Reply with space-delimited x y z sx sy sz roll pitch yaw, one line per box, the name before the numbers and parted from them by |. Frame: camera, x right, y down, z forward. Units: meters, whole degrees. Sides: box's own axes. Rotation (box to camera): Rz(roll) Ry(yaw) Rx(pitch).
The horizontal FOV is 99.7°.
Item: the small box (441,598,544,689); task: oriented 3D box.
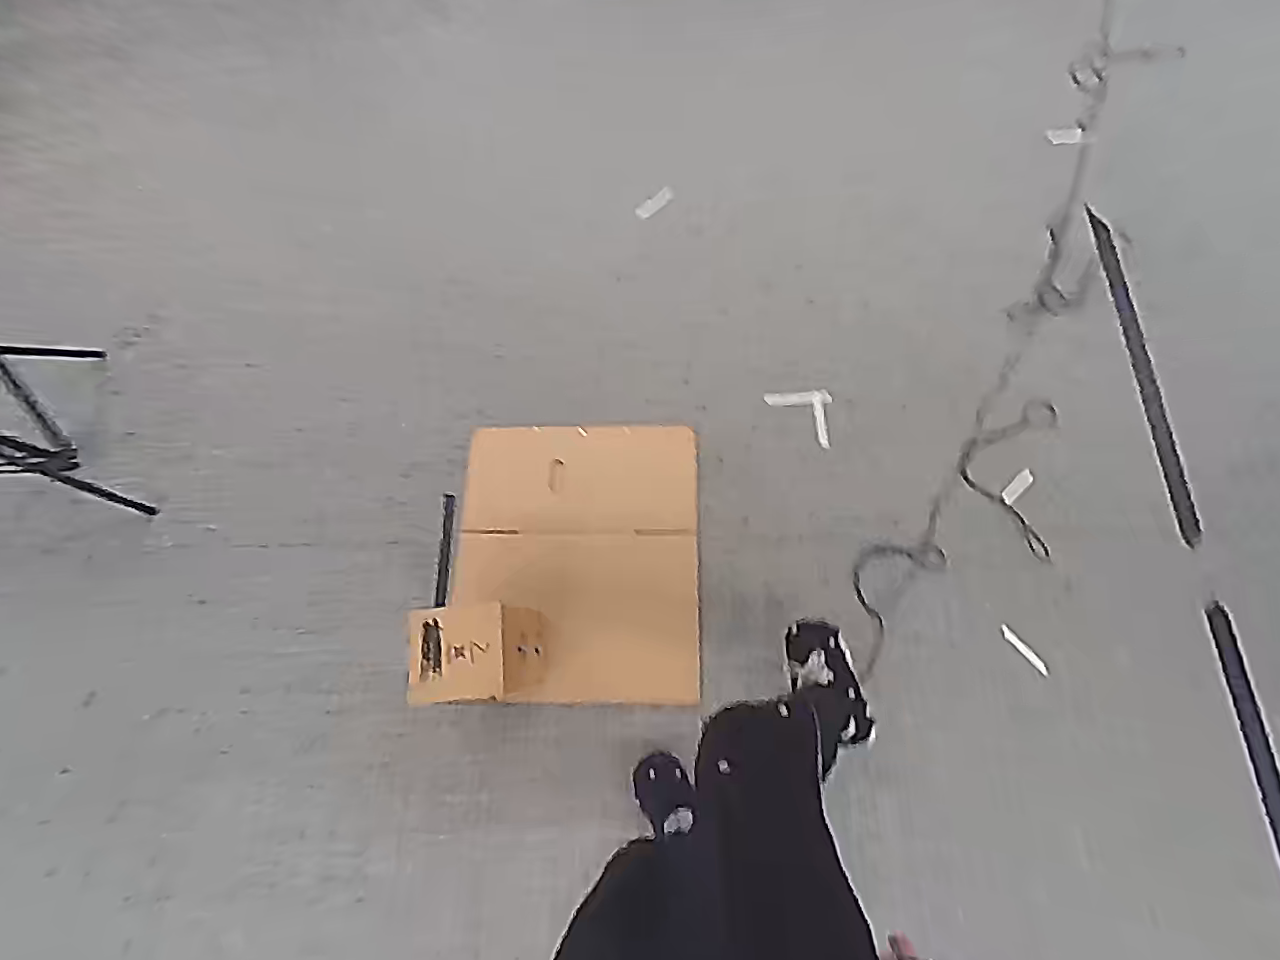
small box | -0.327 0.367 1.213 0.179 0.176 0.168 -10 73 0
